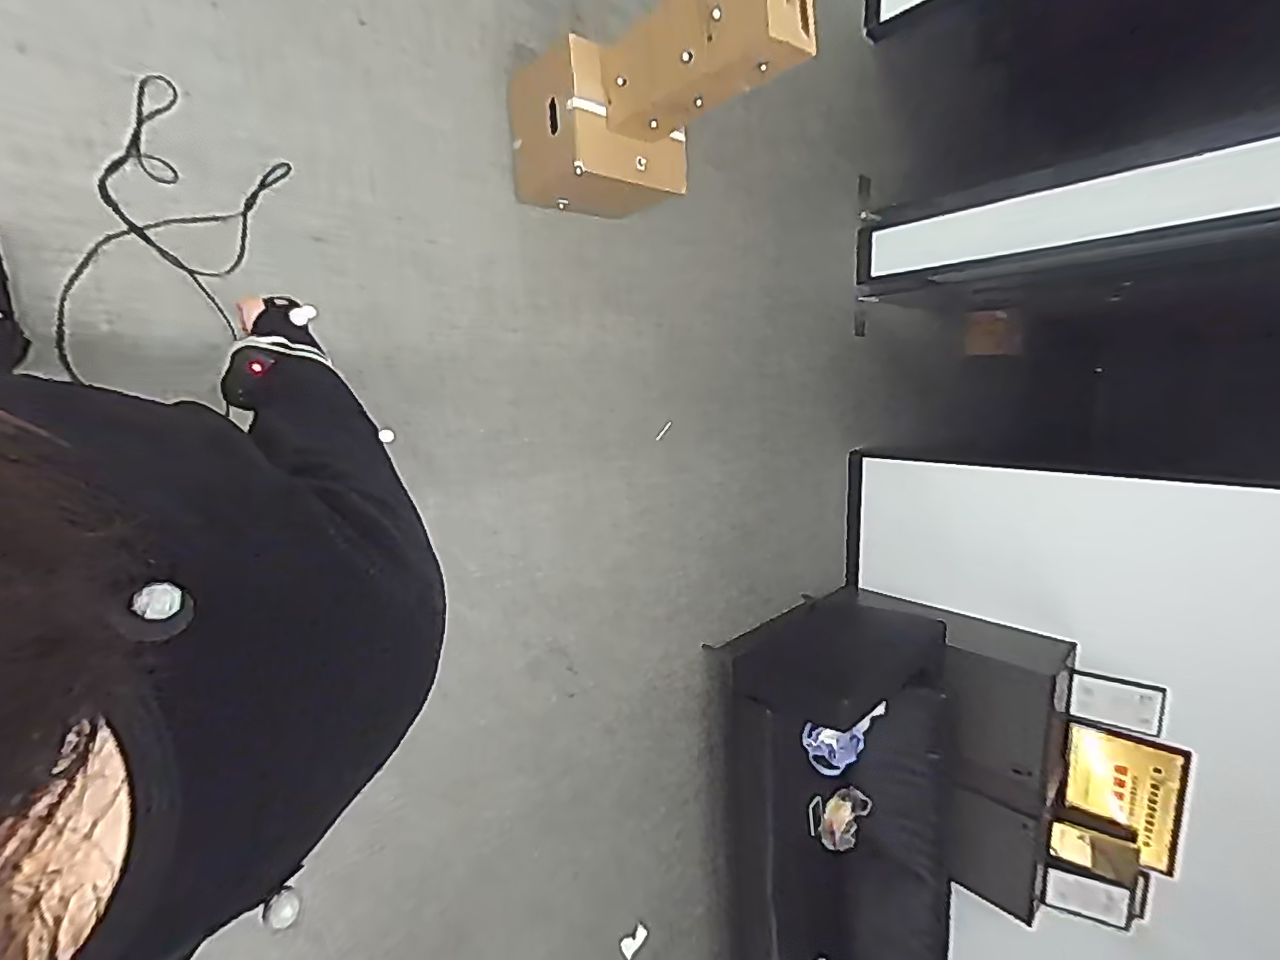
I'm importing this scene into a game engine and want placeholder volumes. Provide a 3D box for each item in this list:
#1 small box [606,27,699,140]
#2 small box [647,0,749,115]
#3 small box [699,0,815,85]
[{"bbox_3d":[0.027,-1.004,1.389,0.179,0.176,0.168,-17,106,-39],"label":"small box"},{"bbox_3d":[0.134,-0.990,1.263,0.168,0.176,0.179,-17,106,-40],"label":"small box"},{"bbox_3d":[0.248,-0.973,1.145,0.179,0.176,0.168,-20,108,-38],"label":"small box"}]
